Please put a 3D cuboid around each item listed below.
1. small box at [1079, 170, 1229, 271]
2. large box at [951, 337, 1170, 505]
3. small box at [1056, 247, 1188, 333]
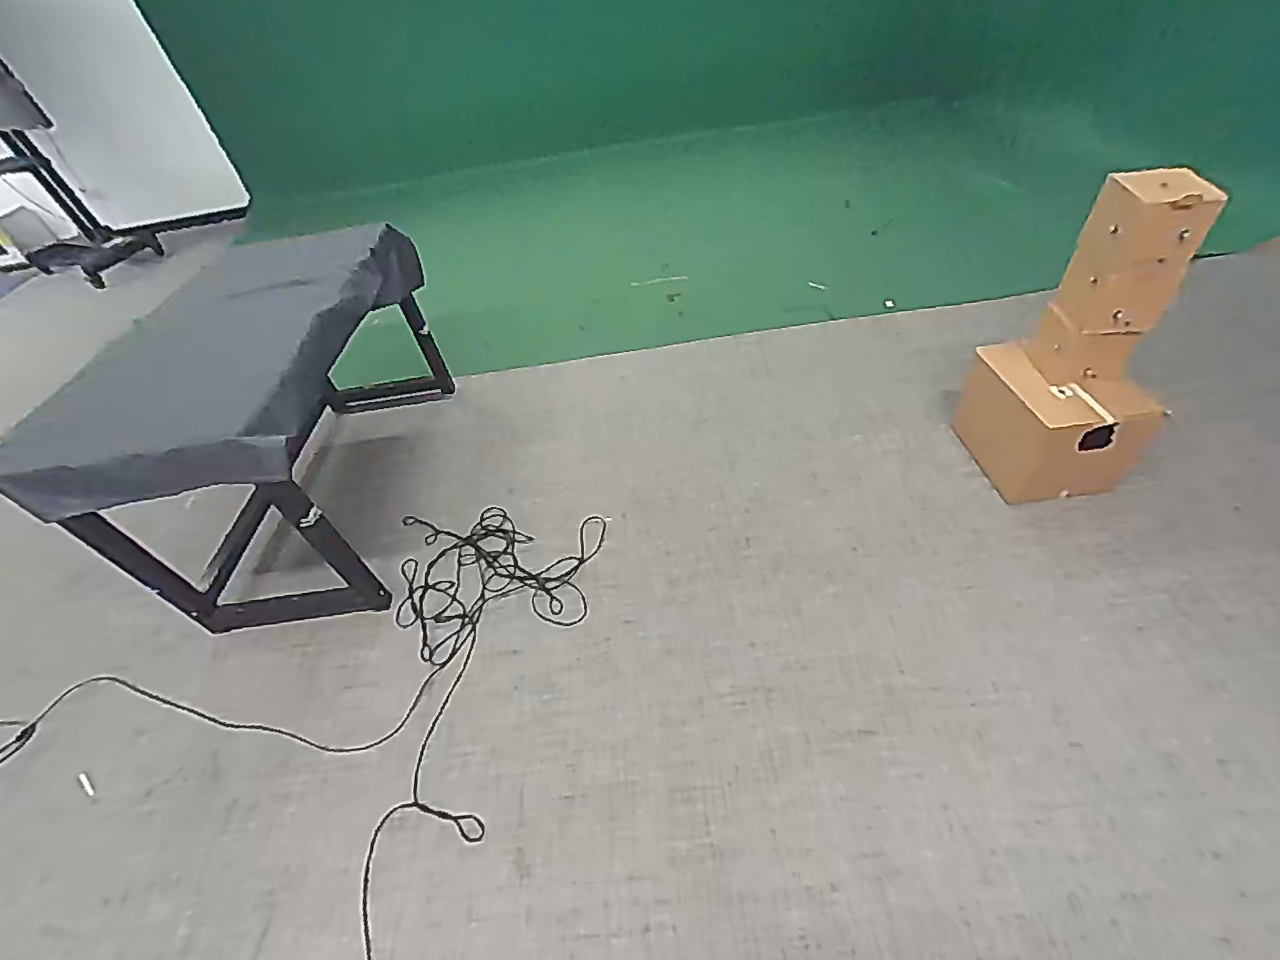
[{"bbox_3d":[1.204,-0.610,1.285,0.168,0.176,0.179,1,47,9],"label":"small box"},{"bbox_3d":[1.242,-0.185,1.664,0.320,0.320,0.408,-9,47,3],"label":"large box"},{"bbox_3d":[1.230,-0.499,1.401,0.168,0.176,0.179,-1,48,9],"label":"small box"}]
